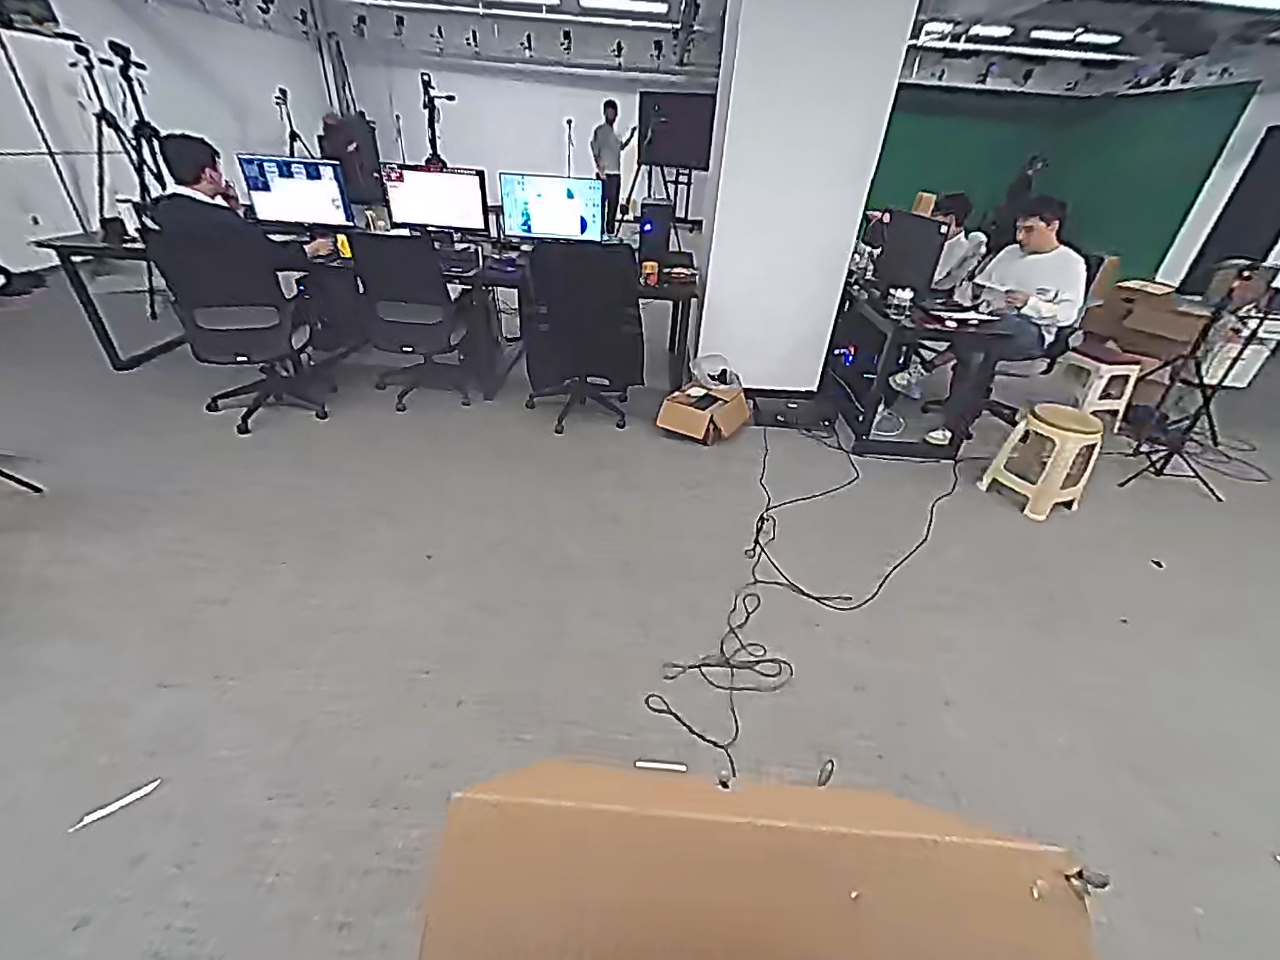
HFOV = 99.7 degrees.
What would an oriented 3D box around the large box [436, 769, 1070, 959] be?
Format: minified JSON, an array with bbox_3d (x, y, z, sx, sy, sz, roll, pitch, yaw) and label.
[{"bbox_3d":[0.066,0.430,0.446,0.408,0.320,0.320,3,67,2],"label":"large box"}]
